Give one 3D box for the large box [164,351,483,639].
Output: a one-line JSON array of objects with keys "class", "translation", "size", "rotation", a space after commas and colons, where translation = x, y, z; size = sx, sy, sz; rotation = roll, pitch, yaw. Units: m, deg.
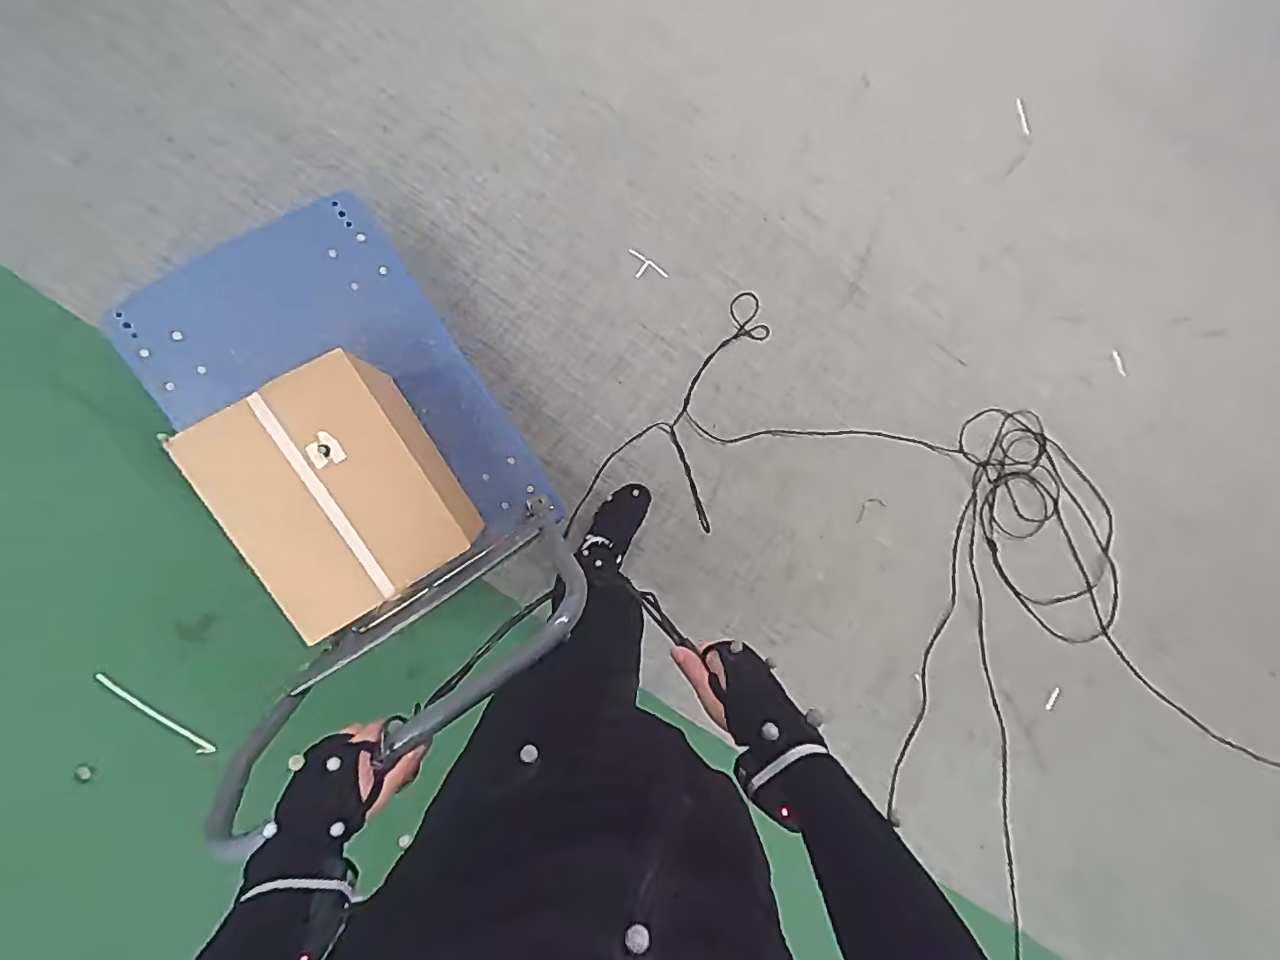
[{"class": "large box", "translation": [-0.558, 0.023, 1.053], "size": [0.320, 0.320, 0.408], "rotation": [-32, 97, -9]}]
